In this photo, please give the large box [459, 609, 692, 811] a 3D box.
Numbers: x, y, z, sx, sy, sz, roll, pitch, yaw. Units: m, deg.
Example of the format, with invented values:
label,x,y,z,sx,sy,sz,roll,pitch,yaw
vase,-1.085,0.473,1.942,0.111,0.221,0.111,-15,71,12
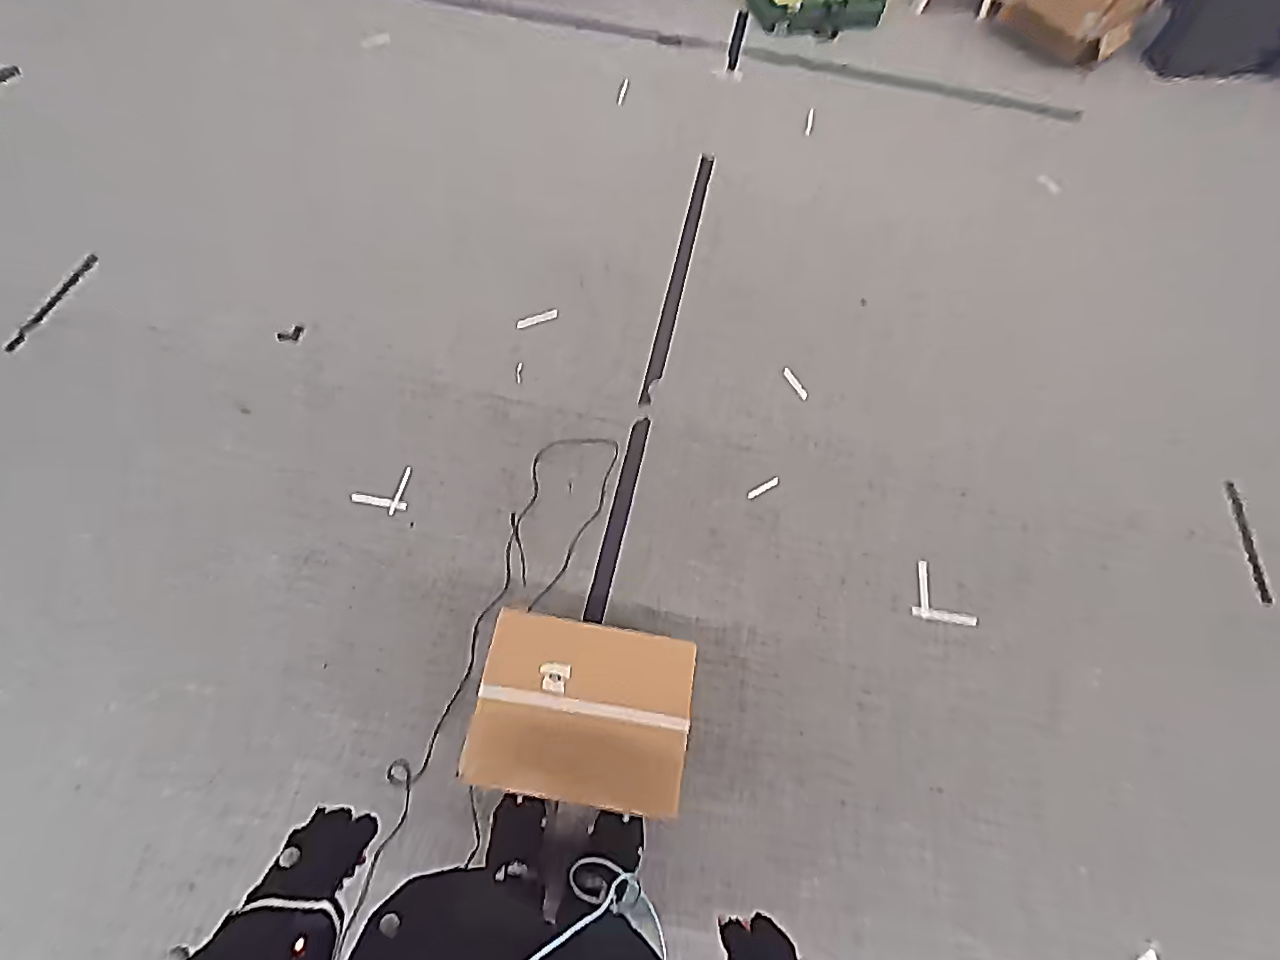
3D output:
label,x,y,z,sx,sy,sz,roll,pitch,yaw
large box,-0.117,0.489,1.170,0.408,0.320,0.320,10,65,1
